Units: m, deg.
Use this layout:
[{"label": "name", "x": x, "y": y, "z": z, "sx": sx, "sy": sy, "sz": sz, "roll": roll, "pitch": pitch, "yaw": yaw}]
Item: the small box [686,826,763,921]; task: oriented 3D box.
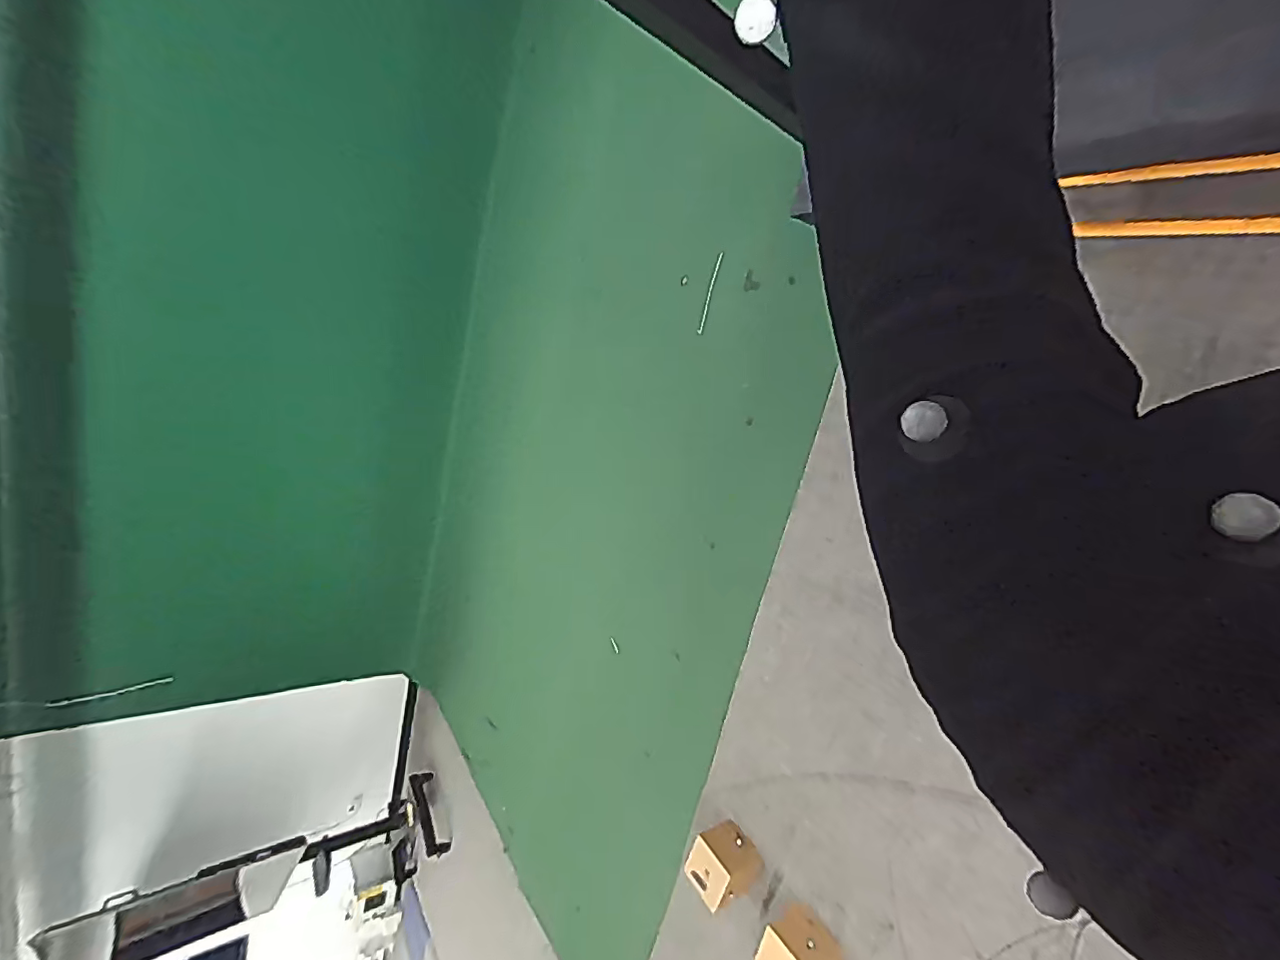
[{"label": "small box", "x": 0.291, "y": 1.334, "z": 1.844, "sx": 0.168, "sy": 0.176, "sz": 0.179, "roll": 34, "pitch": 112, "yaw": 48}]

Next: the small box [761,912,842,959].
[{"label": "small box", "x": 0.477, "y": 1.444, "z": 1.600, "sx": 0.168, "sy": 0.176, "sz": 0.179, "roll": 28, "pitch": 109, "yaw": 49}]
